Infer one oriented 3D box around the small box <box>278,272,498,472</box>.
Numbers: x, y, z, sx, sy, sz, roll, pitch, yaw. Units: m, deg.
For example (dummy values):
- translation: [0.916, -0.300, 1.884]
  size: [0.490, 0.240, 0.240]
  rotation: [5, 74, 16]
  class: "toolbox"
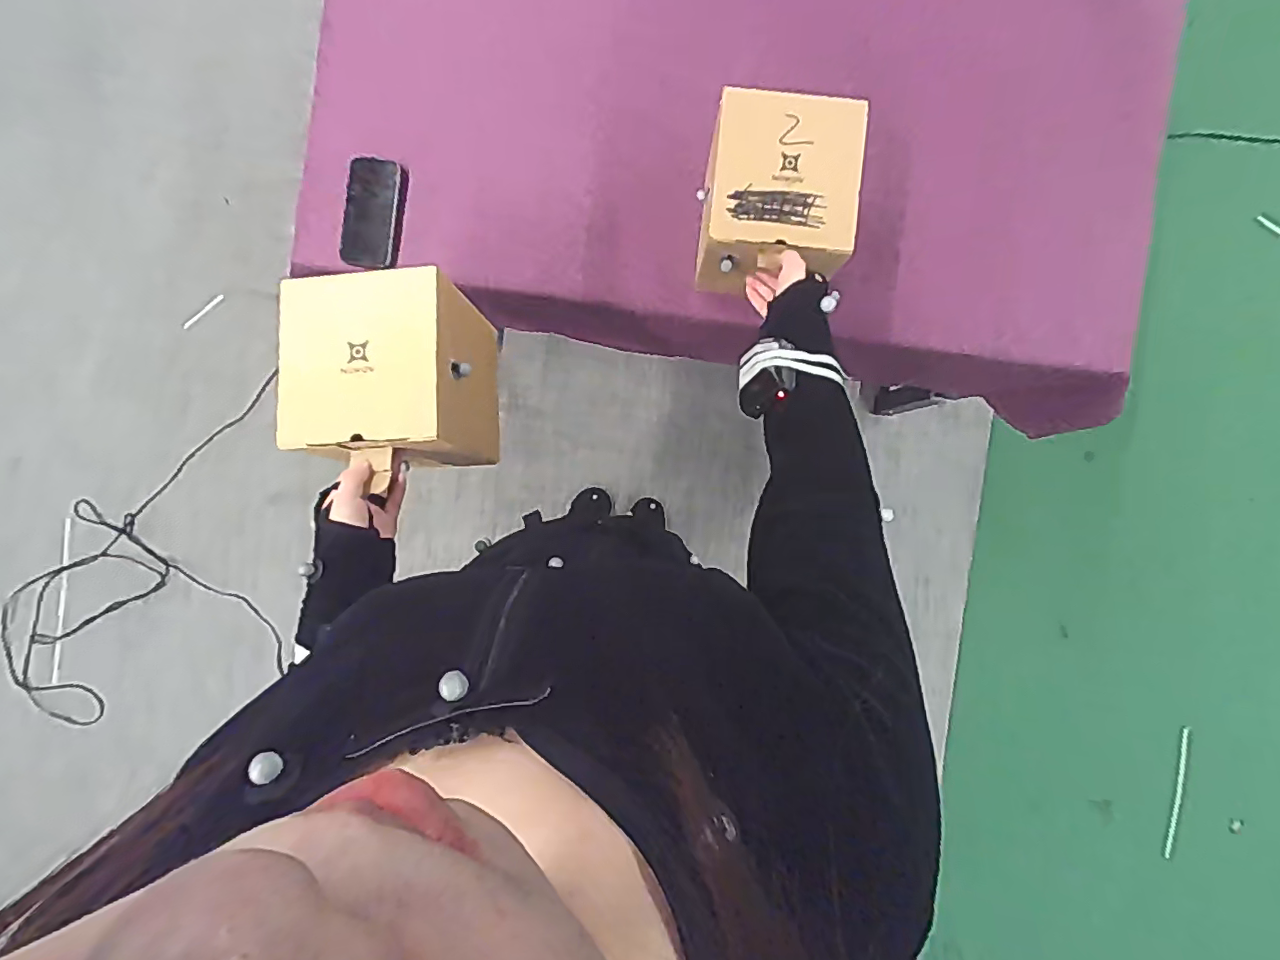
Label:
- translation: [-0.266, -0.108, 0.608]
  size: [0.168, 0.176, 0.179]
  rotation: [-3, 84, 4]
  class: "small box"
